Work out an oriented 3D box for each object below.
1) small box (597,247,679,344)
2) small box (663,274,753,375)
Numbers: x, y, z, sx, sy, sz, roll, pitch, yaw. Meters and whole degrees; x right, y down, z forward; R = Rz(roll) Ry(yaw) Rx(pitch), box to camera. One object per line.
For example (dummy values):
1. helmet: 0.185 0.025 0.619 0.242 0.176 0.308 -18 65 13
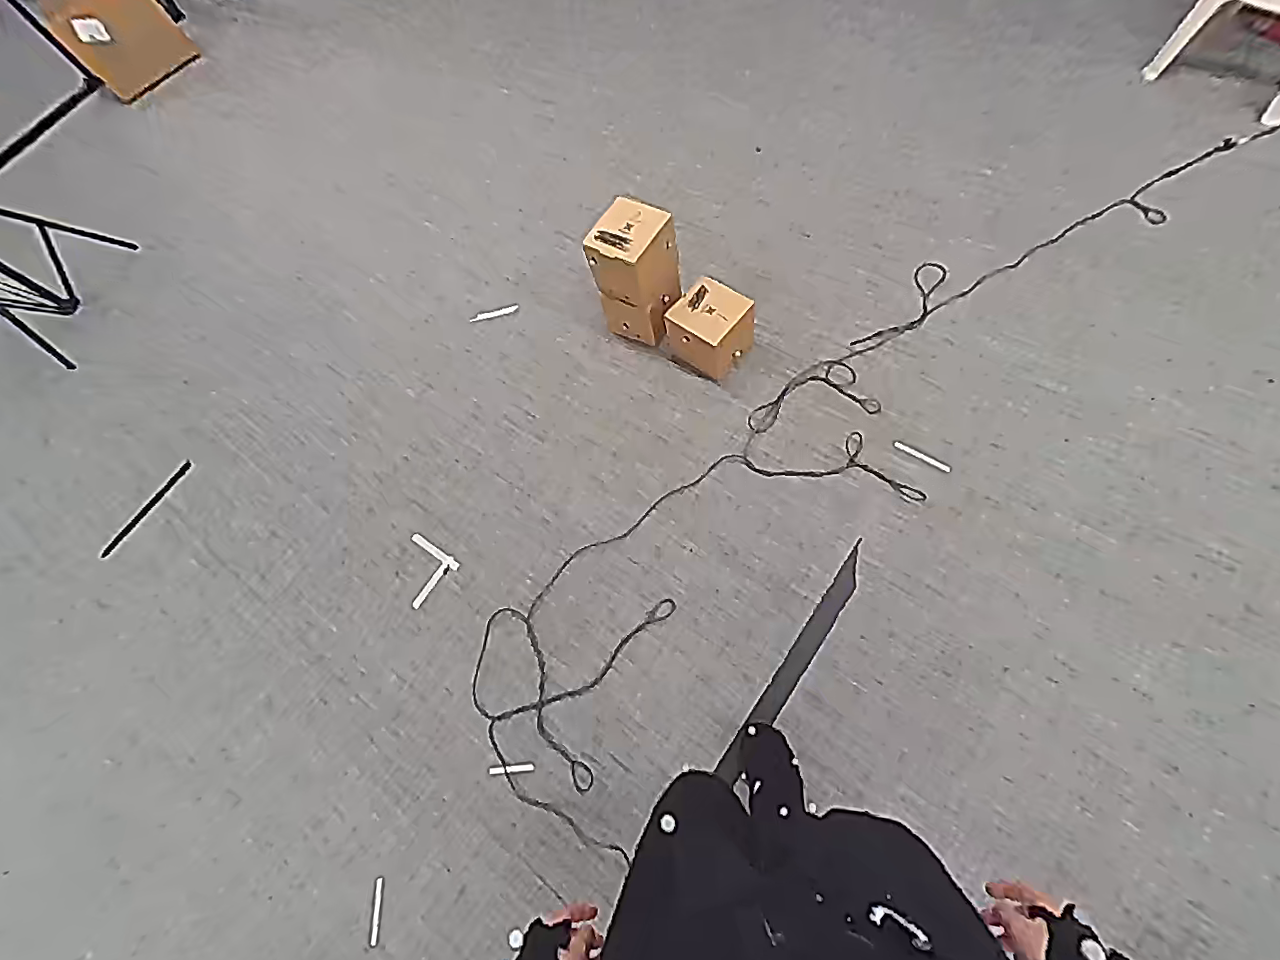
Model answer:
1. small box: 0.002 -0.530 1.561 0.168 0.176 0.179 24 75 19
2. small box: 0.188 -0.417 1.475 0.179 0.176 0.168 38 79 22
